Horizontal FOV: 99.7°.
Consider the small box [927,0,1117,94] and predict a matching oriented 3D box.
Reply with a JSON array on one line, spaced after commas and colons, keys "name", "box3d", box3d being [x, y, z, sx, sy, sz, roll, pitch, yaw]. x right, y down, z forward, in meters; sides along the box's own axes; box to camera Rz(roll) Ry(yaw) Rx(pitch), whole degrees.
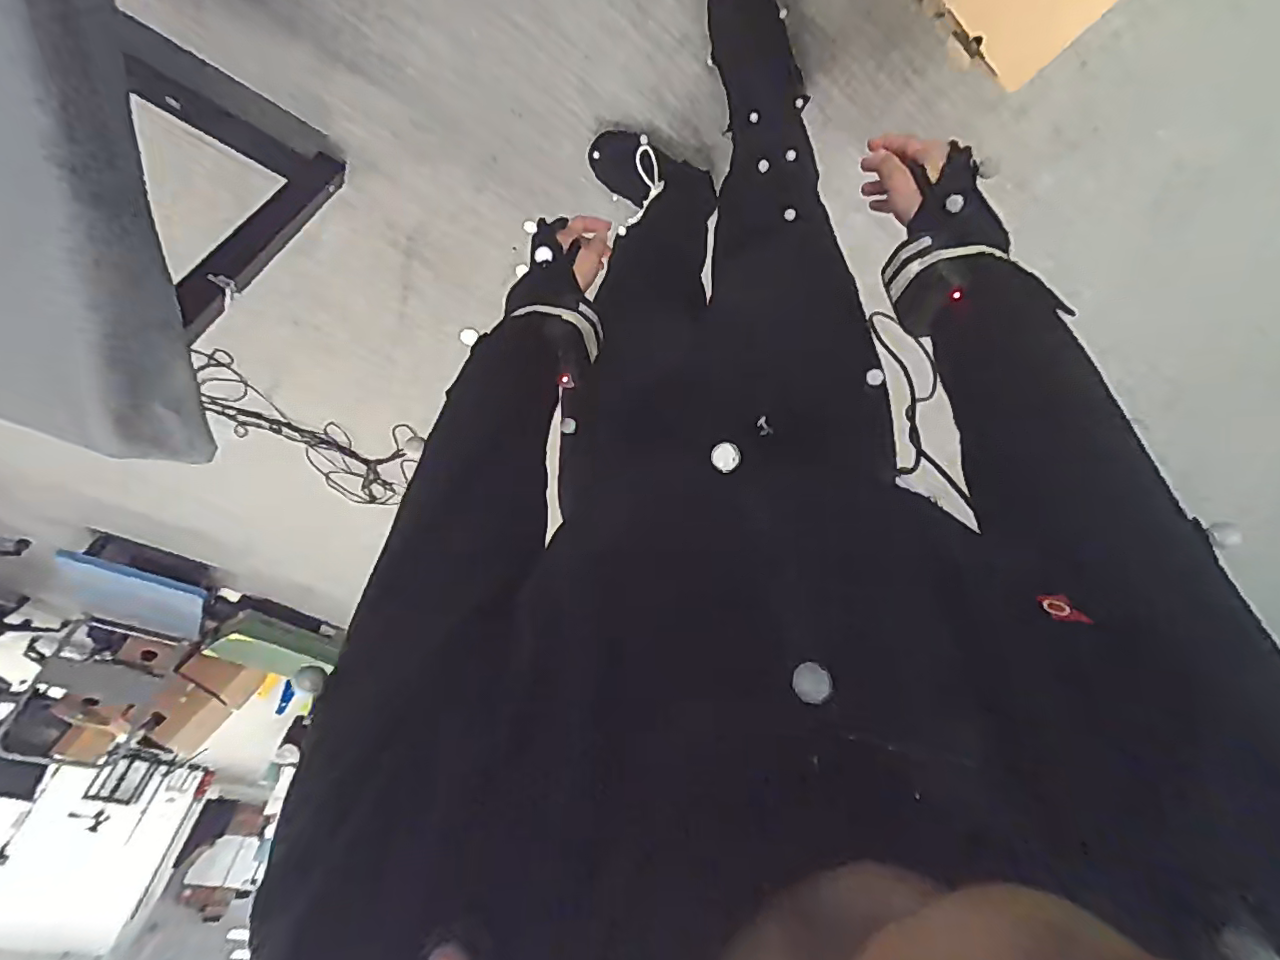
[{"name": "small box", "box3d": [0.433, -0.596, 0.604, 0.168, 0.176, 0.179, 27, 138, -25]}]
